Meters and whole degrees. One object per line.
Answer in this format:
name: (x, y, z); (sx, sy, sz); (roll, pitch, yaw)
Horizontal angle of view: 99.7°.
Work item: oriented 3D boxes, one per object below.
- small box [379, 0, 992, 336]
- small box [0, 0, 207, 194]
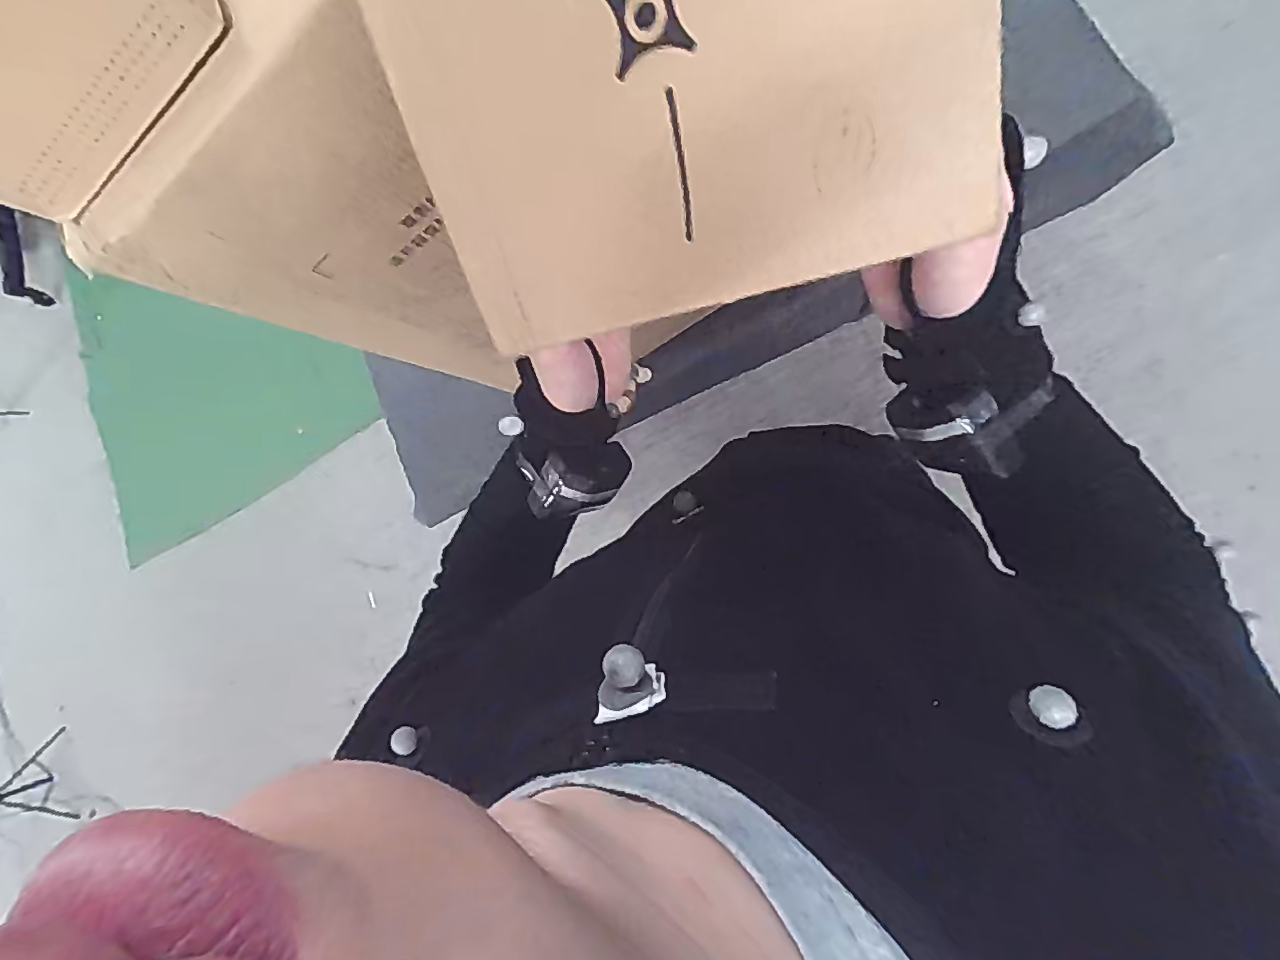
small box: (0.020, -0.176, 0.215); (0.168, 0.176, 0.179); (-8, 116, 18)
small box: (-0.351, -0.281, 0.254); (0.179, 0.176, 0.168); (-29, 80, 21)
